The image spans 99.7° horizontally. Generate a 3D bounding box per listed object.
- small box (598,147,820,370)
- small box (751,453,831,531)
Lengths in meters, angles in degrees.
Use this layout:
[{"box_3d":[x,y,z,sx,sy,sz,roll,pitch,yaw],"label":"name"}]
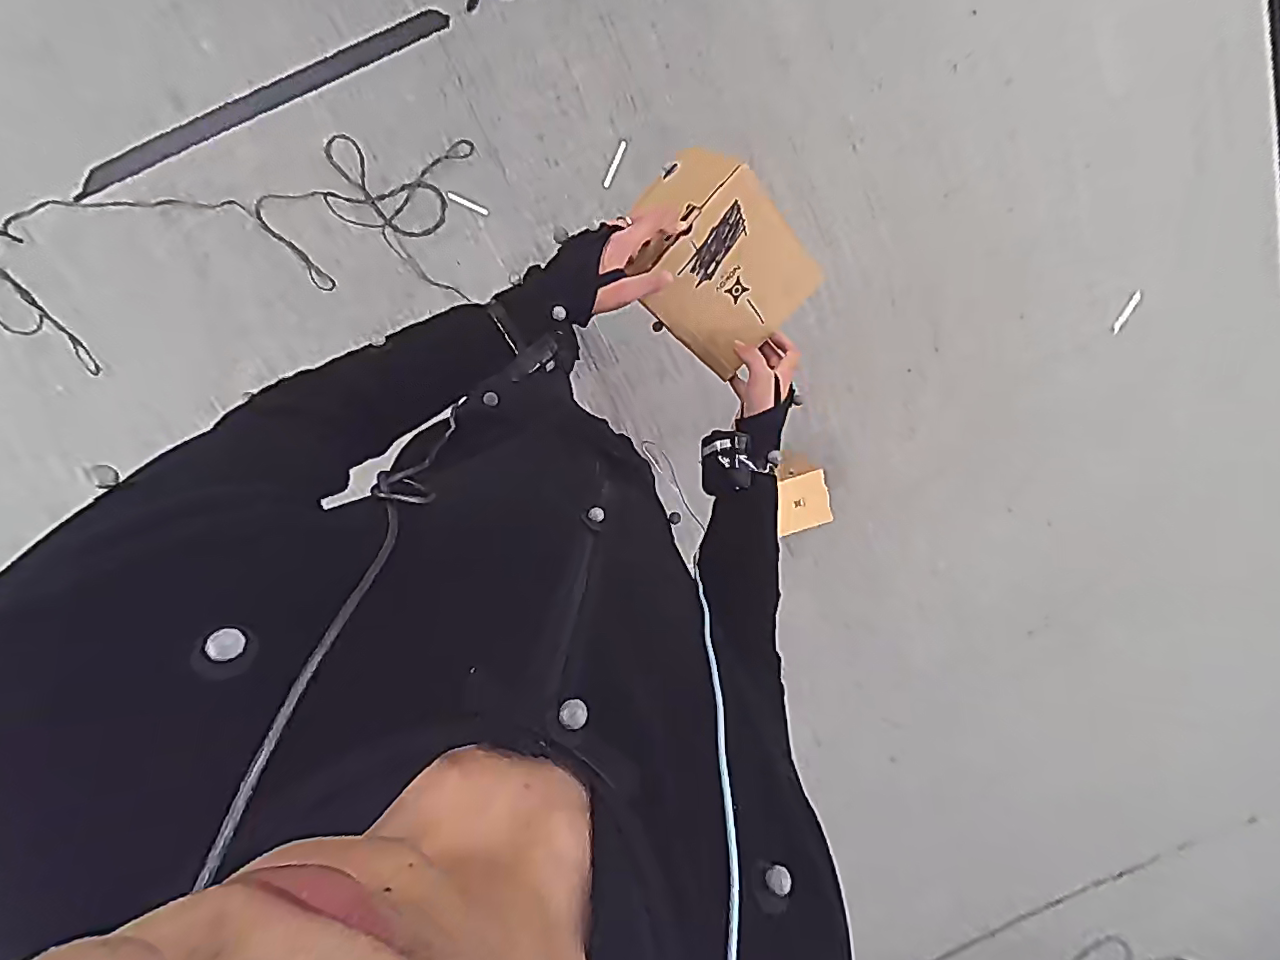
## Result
[{"box_3d":[0.075,-0.271,0.658,0.168,0.176,0.179,-46,128,13],"label":"small box"},{"box_3d":[0.447,0.032,1.634,0.179,0.176,0.168,-18,107,-1],"label":"small box"}]
